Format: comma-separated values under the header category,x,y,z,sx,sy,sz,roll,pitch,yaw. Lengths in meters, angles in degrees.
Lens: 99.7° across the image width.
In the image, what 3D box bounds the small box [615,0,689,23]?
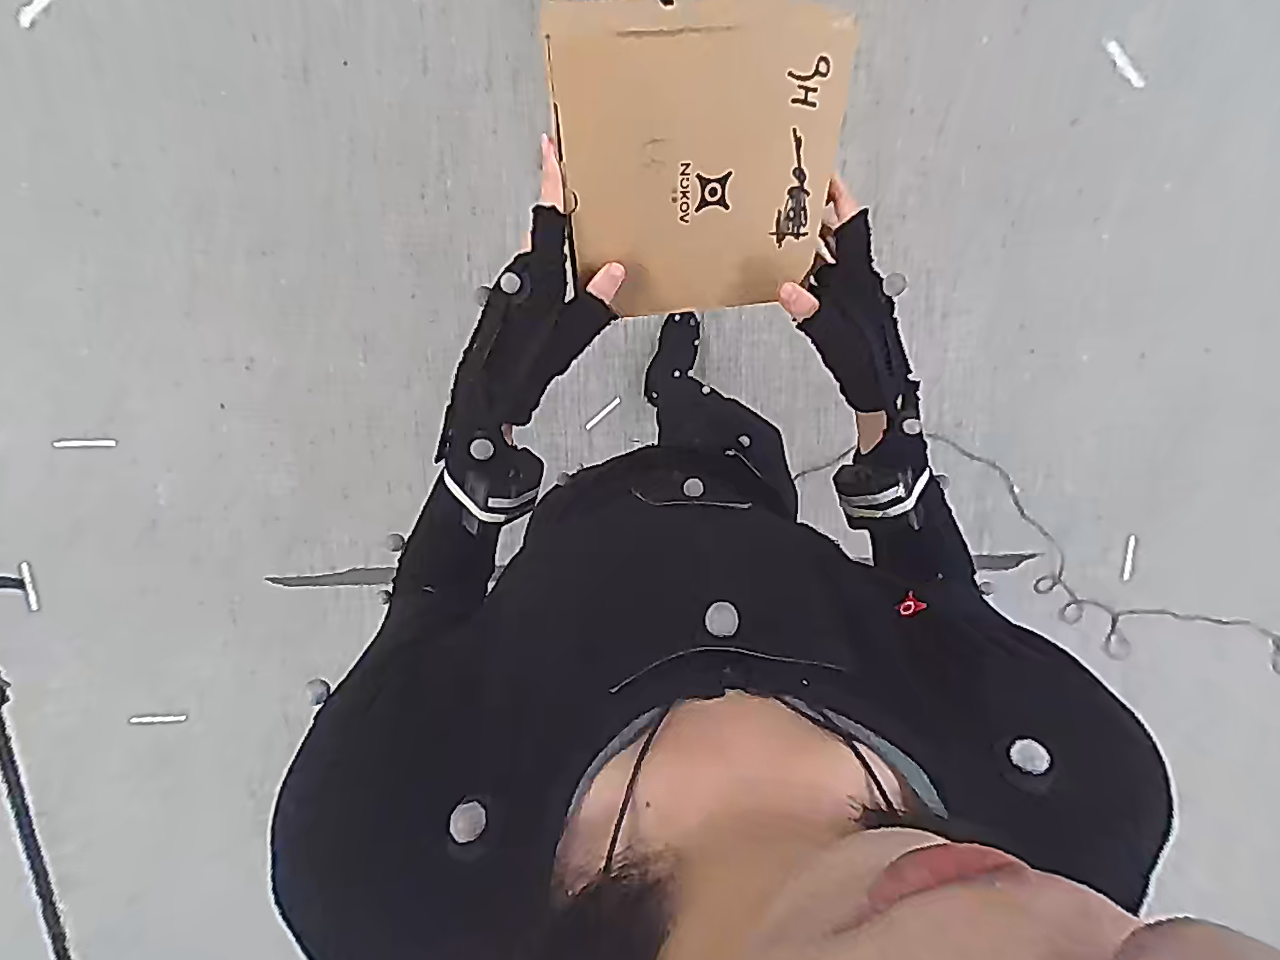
category,x,y,z,sx,sy,sz,roll,pitch,yaw
small box,0.024,-1.173,1.207,0.179,0.176,0.168,-9,100,0
